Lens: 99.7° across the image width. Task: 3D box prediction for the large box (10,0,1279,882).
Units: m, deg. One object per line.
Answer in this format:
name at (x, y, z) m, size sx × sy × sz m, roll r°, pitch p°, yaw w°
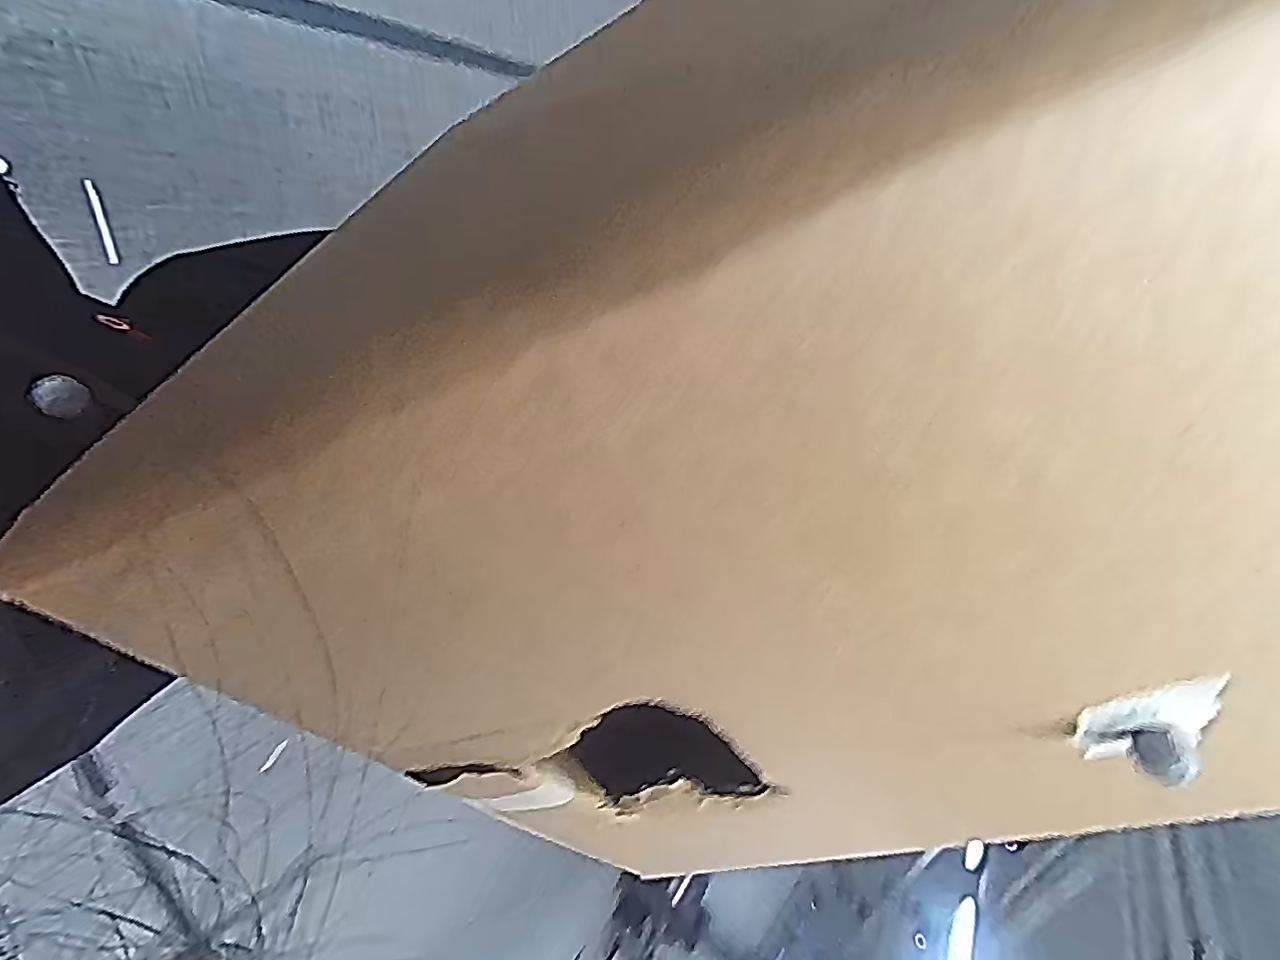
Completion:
large box at (0.060, -0.058, 0.311) m, size 0.408 × 0.320 × 0.320 m, roll -90°, pitch 156°, yaw -48°
